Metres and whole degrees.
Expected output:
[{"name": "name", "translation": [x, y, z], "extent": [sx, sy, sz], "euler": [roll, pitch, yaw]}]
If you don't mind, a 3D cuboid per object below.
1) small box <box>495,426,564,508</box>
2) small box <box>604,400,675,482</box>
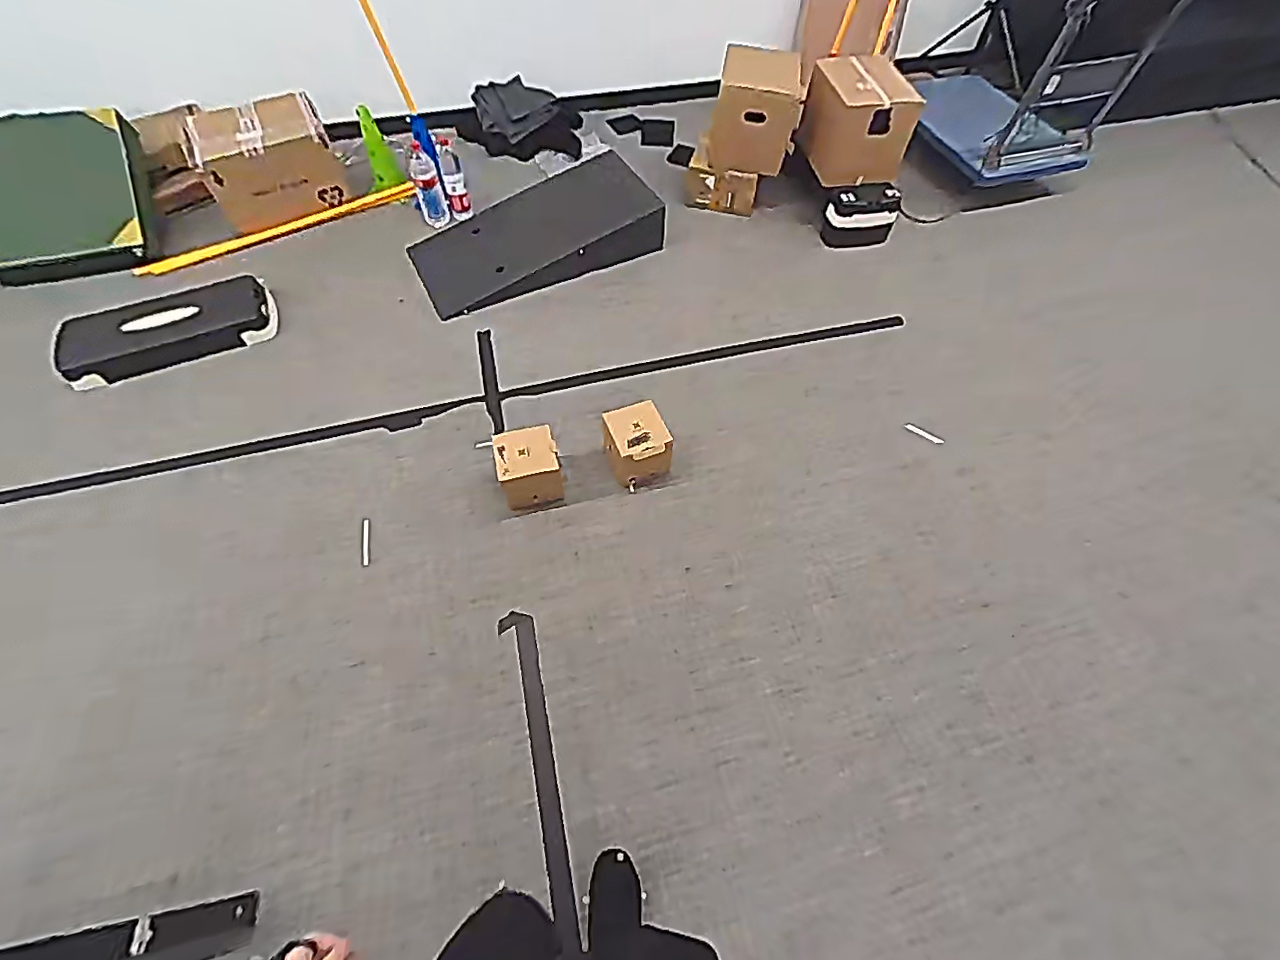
[{"name": "small box", "translation": [-0.326, -0.037, 1.617], "extent": [0.179, 0.176, 0.168], "euler": [-11, 59, -9]}, {"name": "small box", "translation": [-0.003, -0.111, 1.671], "extent": [0.168, 0.176, 0.179], "euler": [-18, 60, -12]}]
